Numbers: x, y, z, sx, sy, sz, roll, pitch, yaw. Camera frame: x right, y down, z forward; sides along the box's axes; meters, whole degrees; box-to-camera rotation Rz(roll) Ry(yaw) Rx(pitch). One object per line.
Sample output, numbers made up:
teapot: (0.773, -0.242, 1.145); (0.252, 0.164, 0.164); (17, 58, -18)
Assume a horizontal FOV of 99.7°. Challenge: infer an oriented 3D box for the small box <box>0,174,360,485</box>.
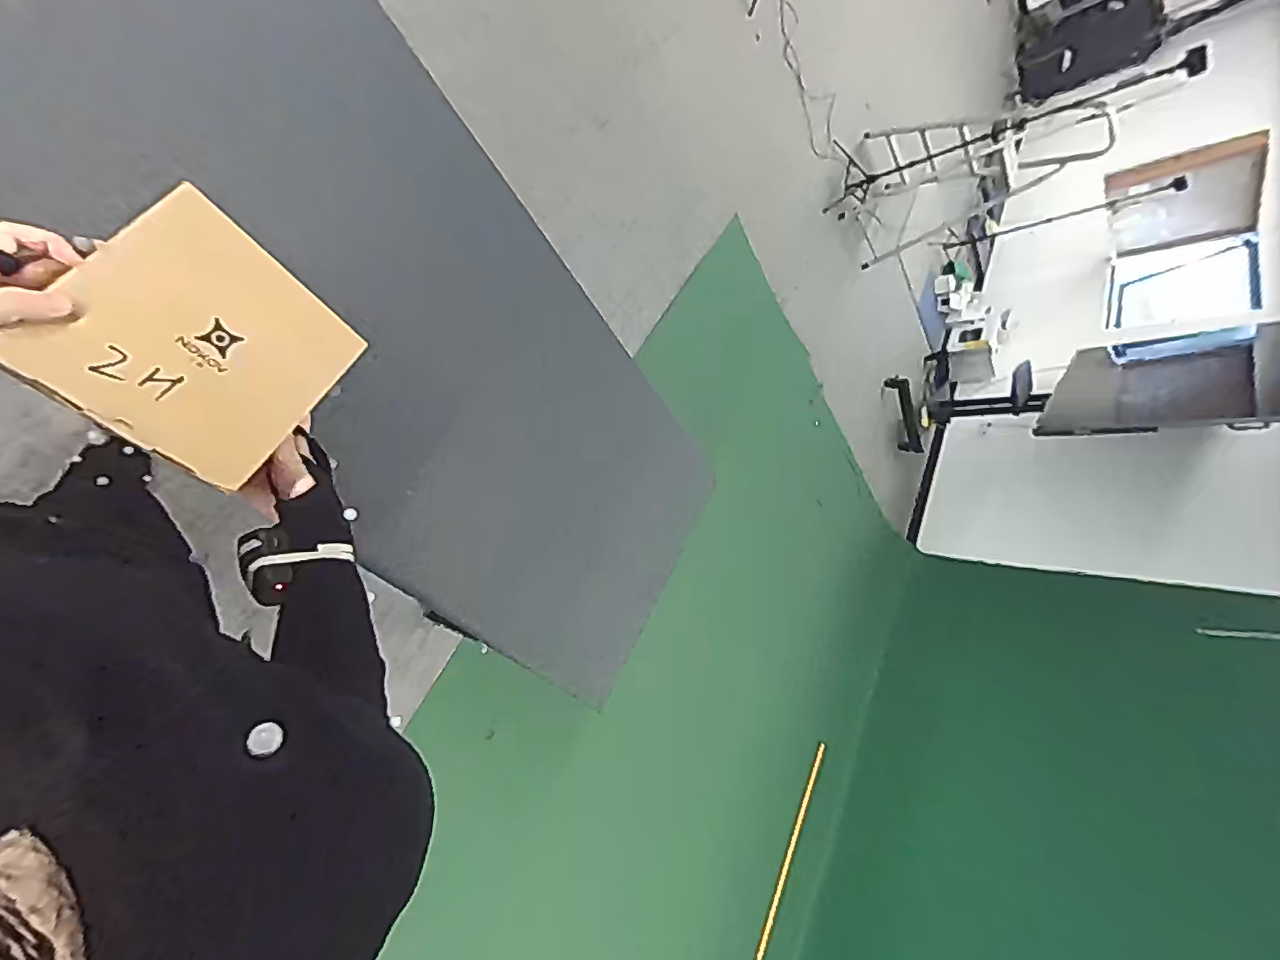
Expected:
small box: (-0.393, -0.118, 0.462); (0.168, 0.176, 0.179); (51, 57, -41)
